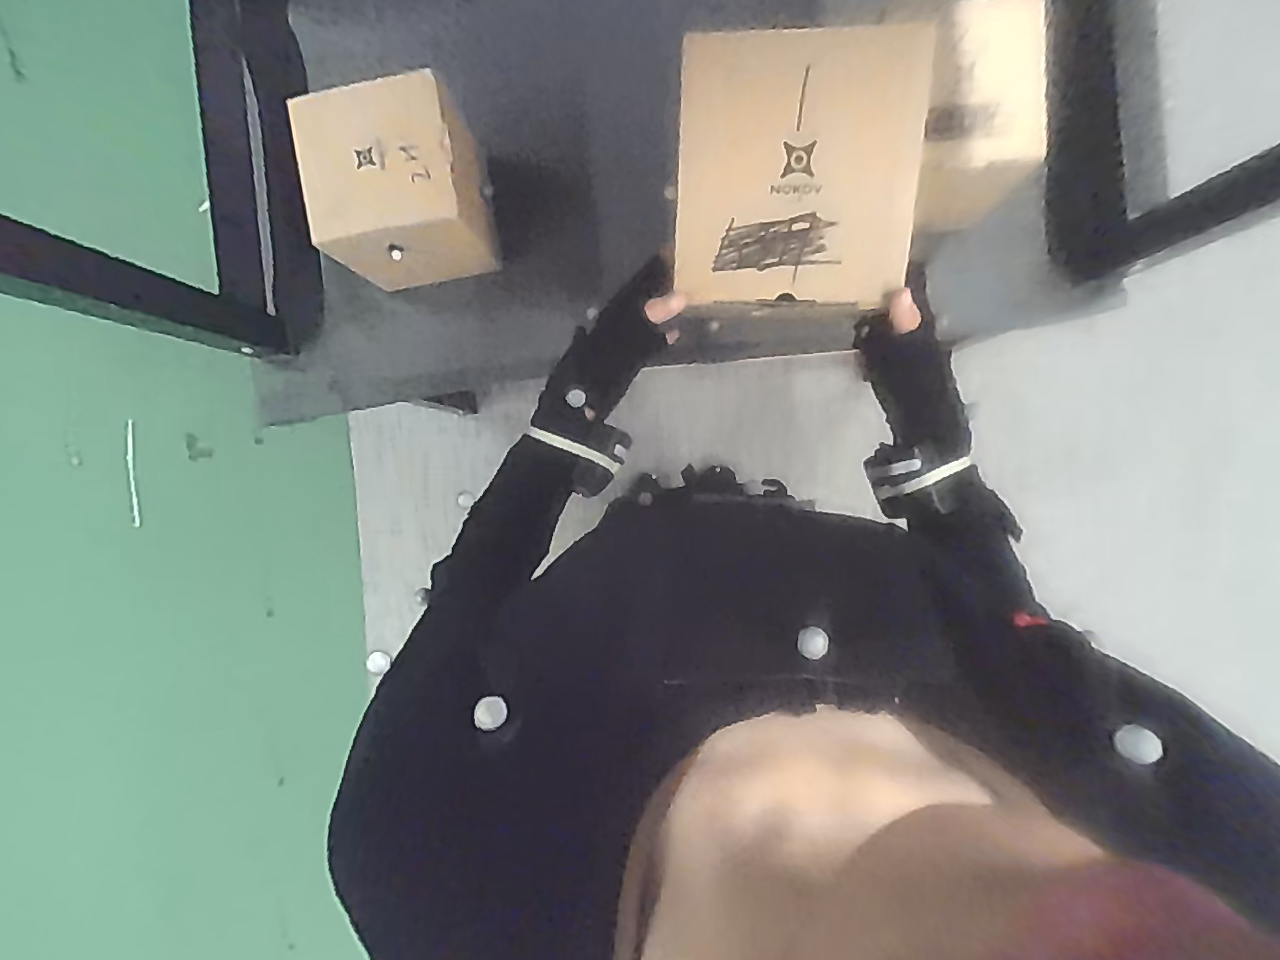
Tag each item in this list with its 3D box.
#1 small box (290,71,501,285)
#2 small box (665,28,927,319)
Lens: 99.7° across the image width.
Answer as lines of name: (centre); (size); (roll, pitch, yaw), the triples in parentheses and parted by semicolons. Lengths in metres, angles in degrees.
small box: (-0.297, -0.365, 0.688); (0.179, 0.176, 0.168); (-9, 91, 2)
small box: (0.113, -0.232, 0.456); (0.168, 0.176, 0.179); (3, 103, 6)
